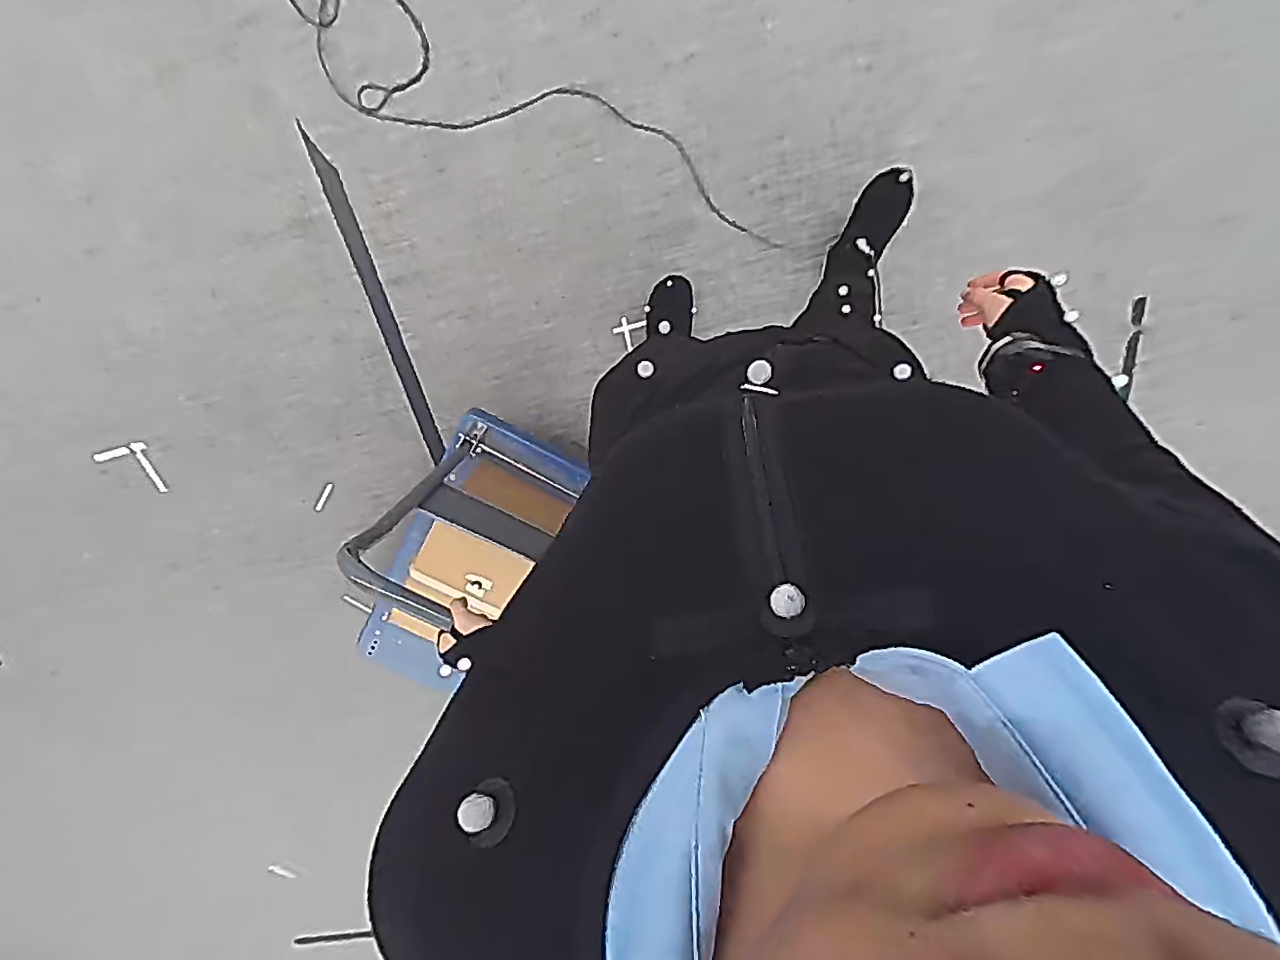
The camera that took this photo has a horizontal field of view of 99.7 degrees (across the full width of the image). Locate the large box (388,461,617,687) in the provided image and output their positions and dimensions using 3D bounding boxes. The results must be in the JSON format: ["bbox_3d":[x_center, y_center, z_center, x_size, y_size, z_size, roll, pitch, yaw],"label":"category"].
[{"bbox_3d":[-0.307,0.217,1.312,0.408,0.320,0.320,29,111,-10],"label":"large box"}]
